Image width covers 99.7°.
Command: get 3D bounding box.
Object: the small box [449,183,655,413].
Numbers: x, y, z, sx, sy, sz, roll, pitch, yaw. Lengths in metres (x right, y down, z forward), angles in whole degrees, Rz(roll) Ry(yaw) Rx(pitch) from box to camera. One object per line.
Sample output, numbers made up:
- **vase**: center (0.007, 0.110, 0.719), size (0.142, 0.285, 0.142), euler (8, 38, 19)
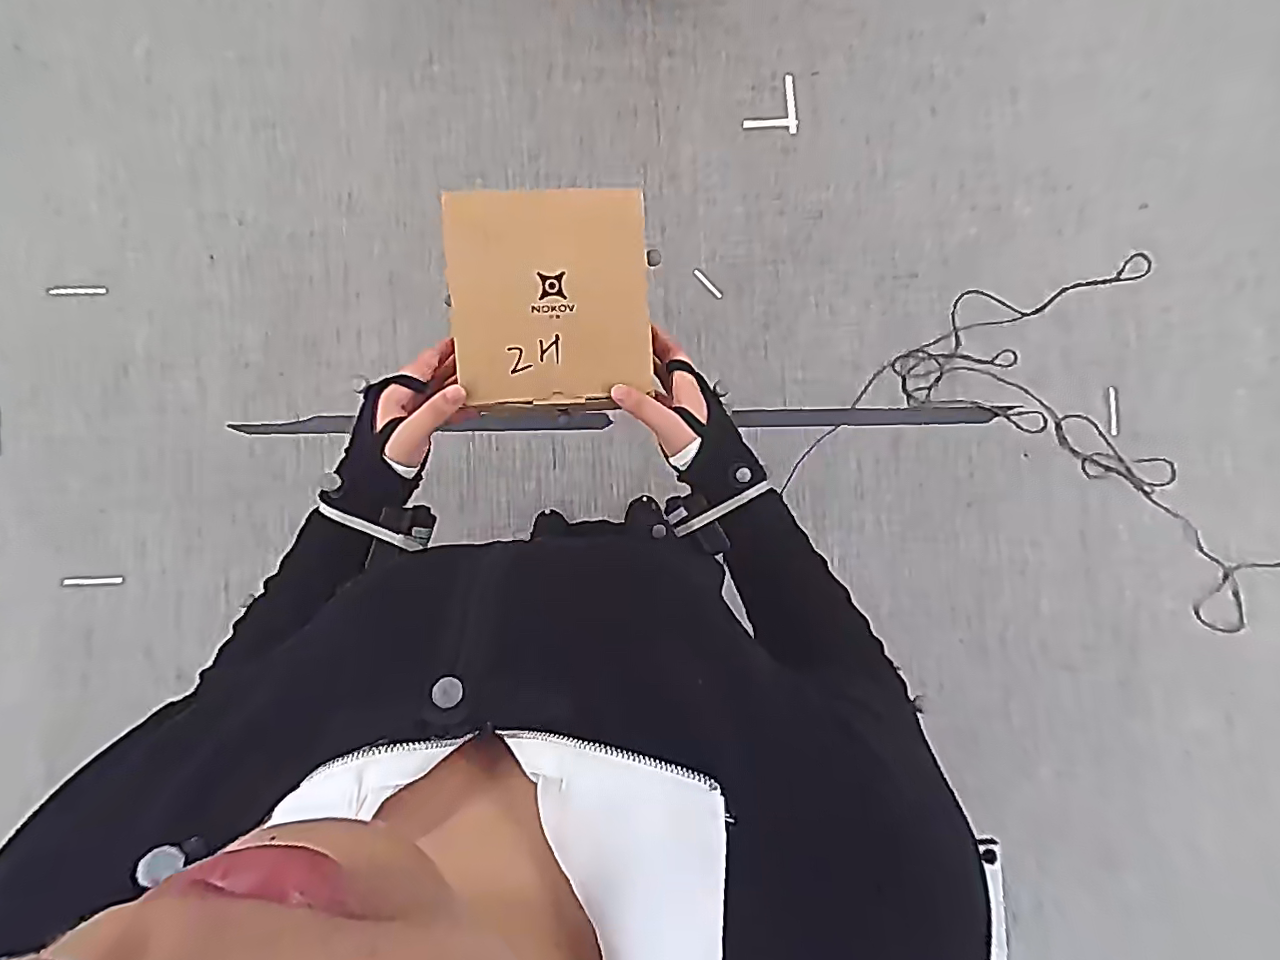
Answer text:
- **small box**: center (-0.079, -0.162, 0.531), size (0.168, 0.176, 0.179), euler (-4, 94, -4)
